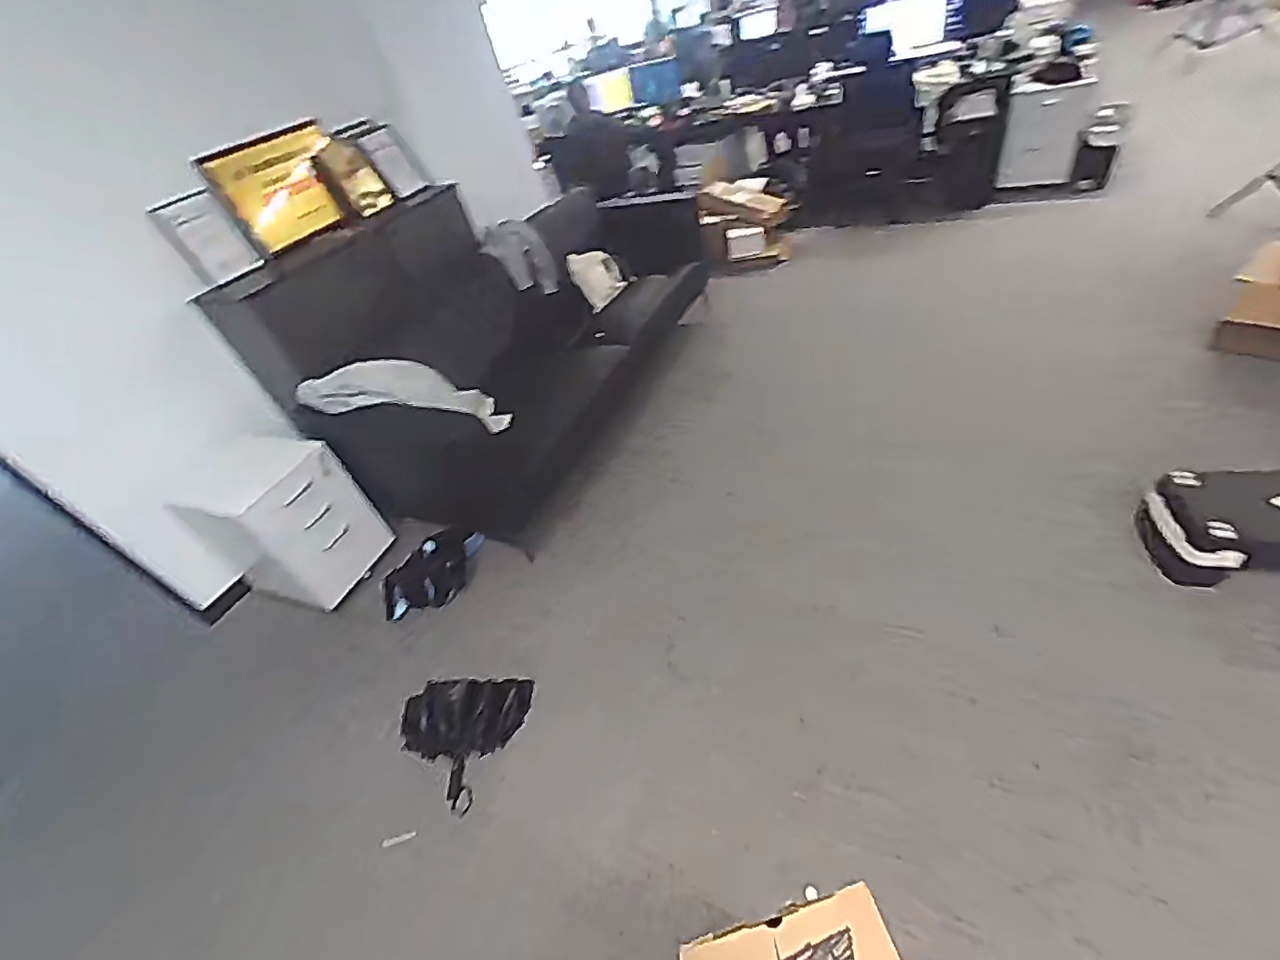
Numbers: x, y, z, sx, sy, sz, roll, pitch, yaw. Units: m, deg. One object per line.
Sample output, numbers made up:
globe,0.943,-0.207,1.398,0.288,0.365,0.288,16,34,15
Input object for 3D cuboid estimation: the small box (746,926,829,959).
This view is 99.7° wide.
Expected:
small box,0.285,1.026,1.058,0.168,0.176,0.179,6,47,26
